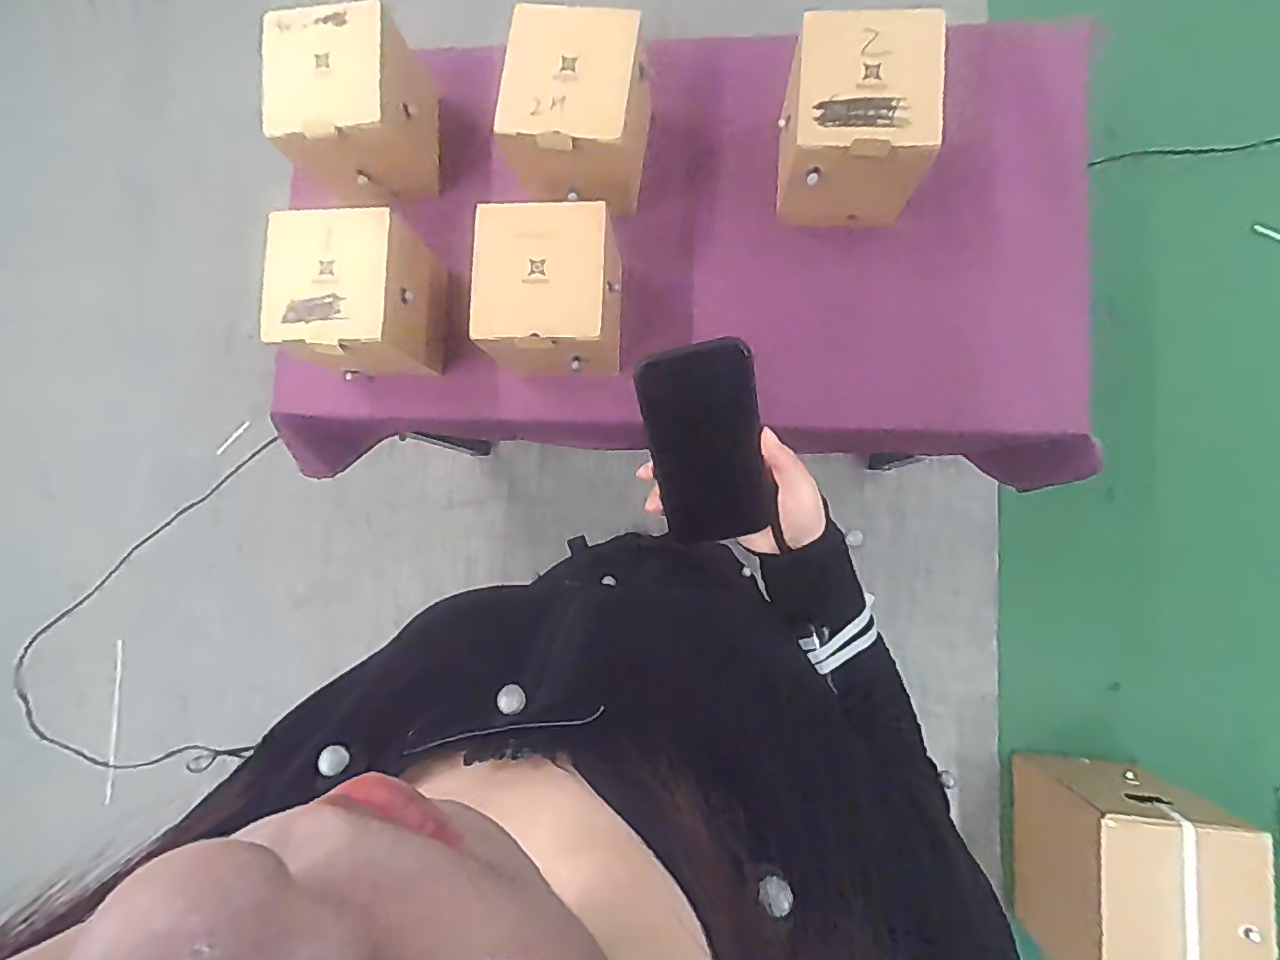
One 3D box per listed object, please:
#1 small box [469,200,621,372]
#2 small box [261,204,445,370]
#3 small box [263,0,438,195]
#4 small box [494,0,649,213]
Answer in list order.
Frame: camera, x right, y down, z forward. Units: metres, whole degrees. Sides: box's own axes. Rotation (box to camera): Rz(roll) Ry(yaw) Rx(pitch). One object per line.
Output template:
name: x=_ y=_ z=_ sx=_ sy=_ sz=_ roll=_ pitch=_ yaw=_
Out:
small box: x=-0.118 y=-0.253 z=0.740 sx=0.168 sy=0.176 sz=0.179 roll=2 pitch=85 yaw=5
small box: x=-0.392 y=-0.259 z=0.765 sx=0.168 sy=0.176 sz=0.179 roll=1 pitch=85 yaw=5
small box: x=-0.407 y=-0.537 z=0.784 sx=0.168 sy=0.176 sz=0.179 roll=-2 pitch=87 yaw=5
small box: x=-0.083 y=-0.507 z=0.752 sx=0.168 sy=0.176 sz=0.179 roll=9 pitch=88 yaw=6
